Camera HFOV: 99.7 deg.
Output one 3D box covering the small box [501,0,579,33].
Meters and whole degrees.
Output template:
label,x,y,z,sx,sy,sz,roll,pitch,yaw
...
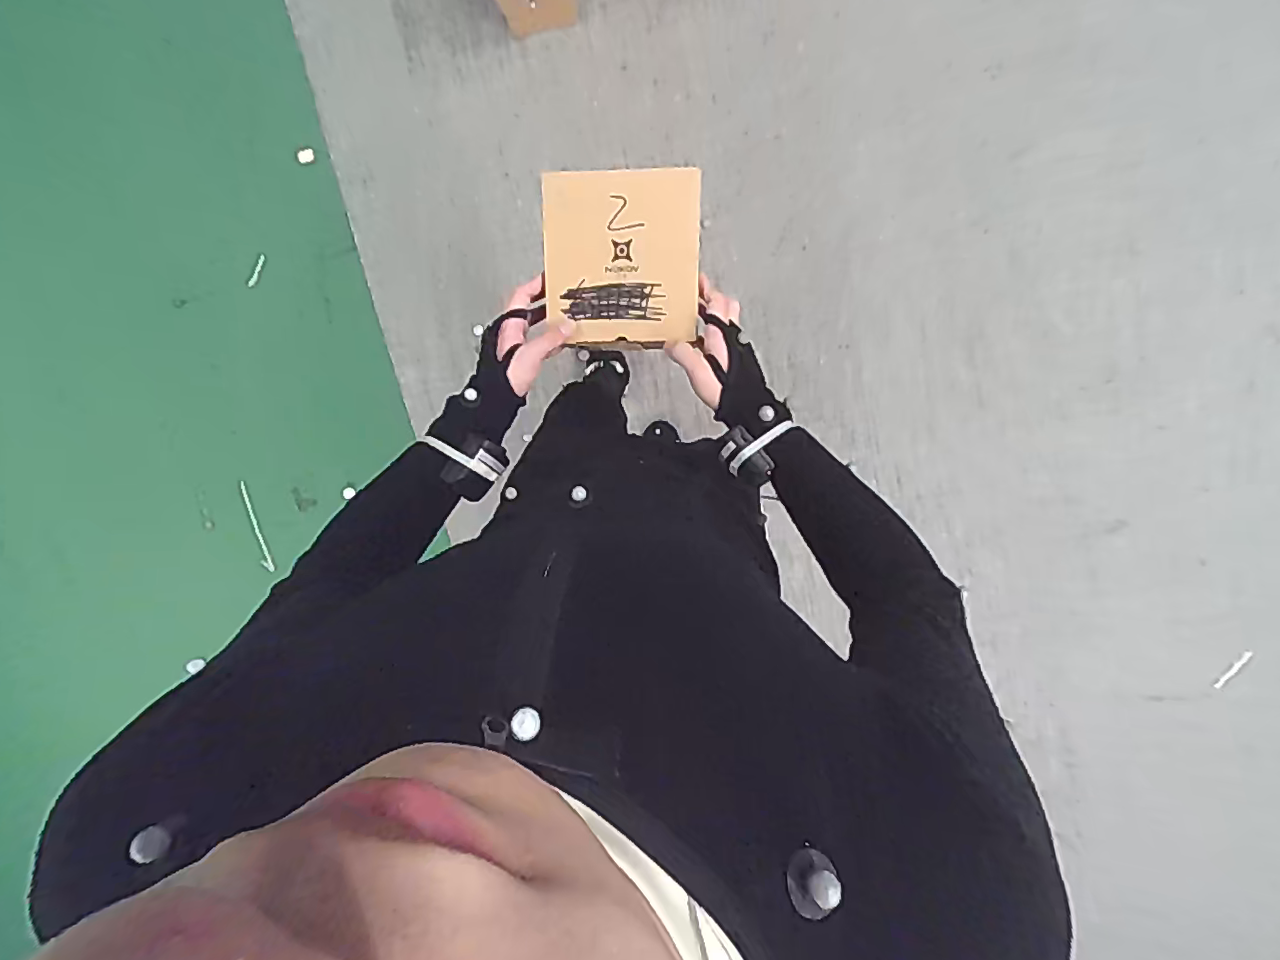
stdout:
label,x,y,z,sx,sy,sz,roll,pitch,yaw
small box,-0.261,-1.245,1.324,0.179,0.176,0.168,-6,102,7
